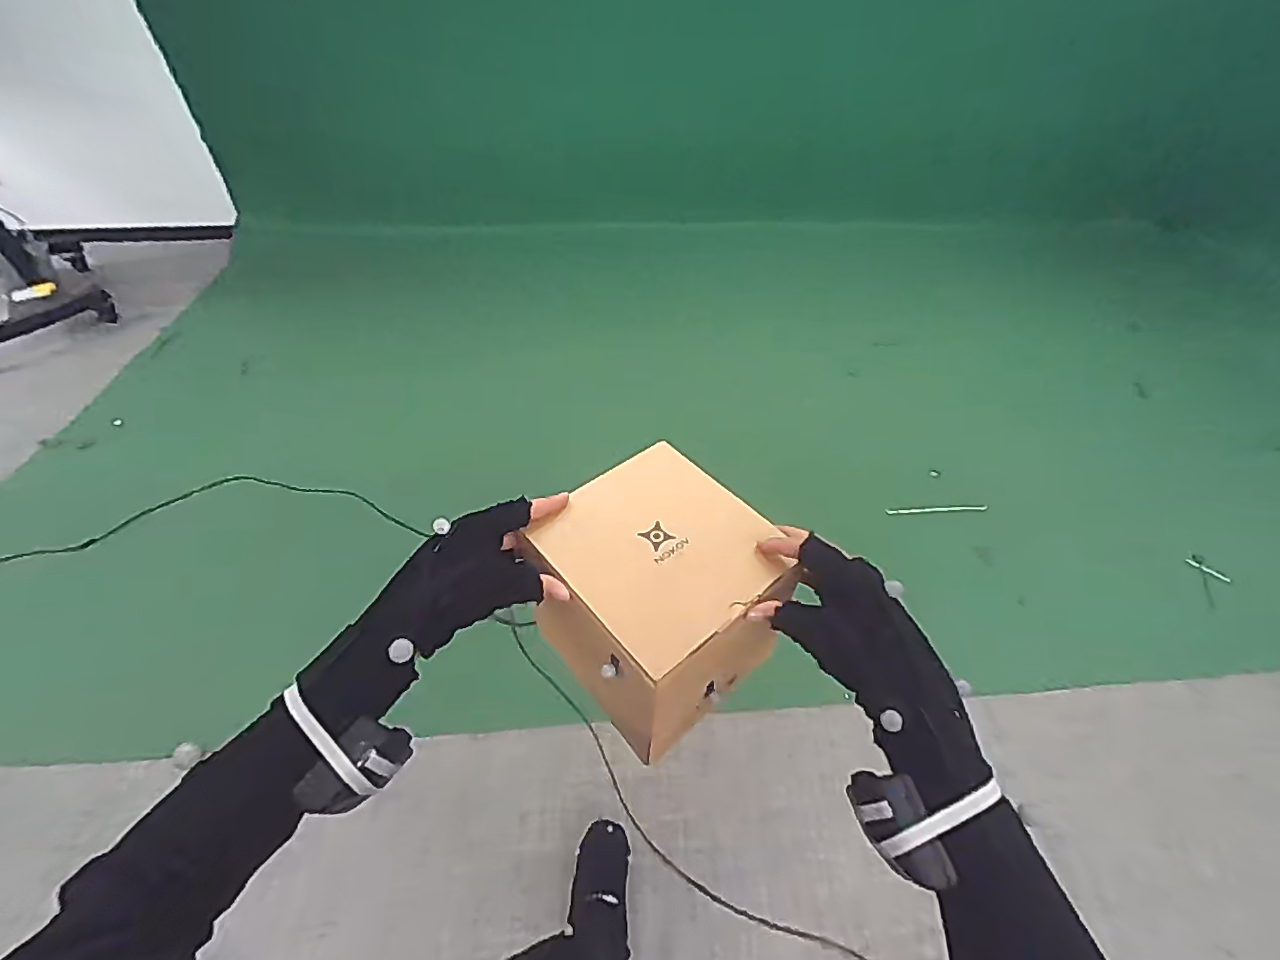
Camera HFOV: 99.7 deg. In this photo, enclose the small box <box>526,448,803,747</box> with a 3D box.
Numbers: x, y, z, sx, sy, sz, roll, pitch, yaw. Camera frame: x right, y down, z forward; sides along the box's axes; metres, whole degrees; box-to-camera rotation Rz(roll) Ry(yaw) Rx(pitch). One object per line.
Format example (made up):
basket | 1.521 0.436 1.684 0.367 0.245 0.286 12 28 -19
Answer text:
small box | 0.014 0.107 0.504 0.168 0.176 0.179 -30 55 -28
